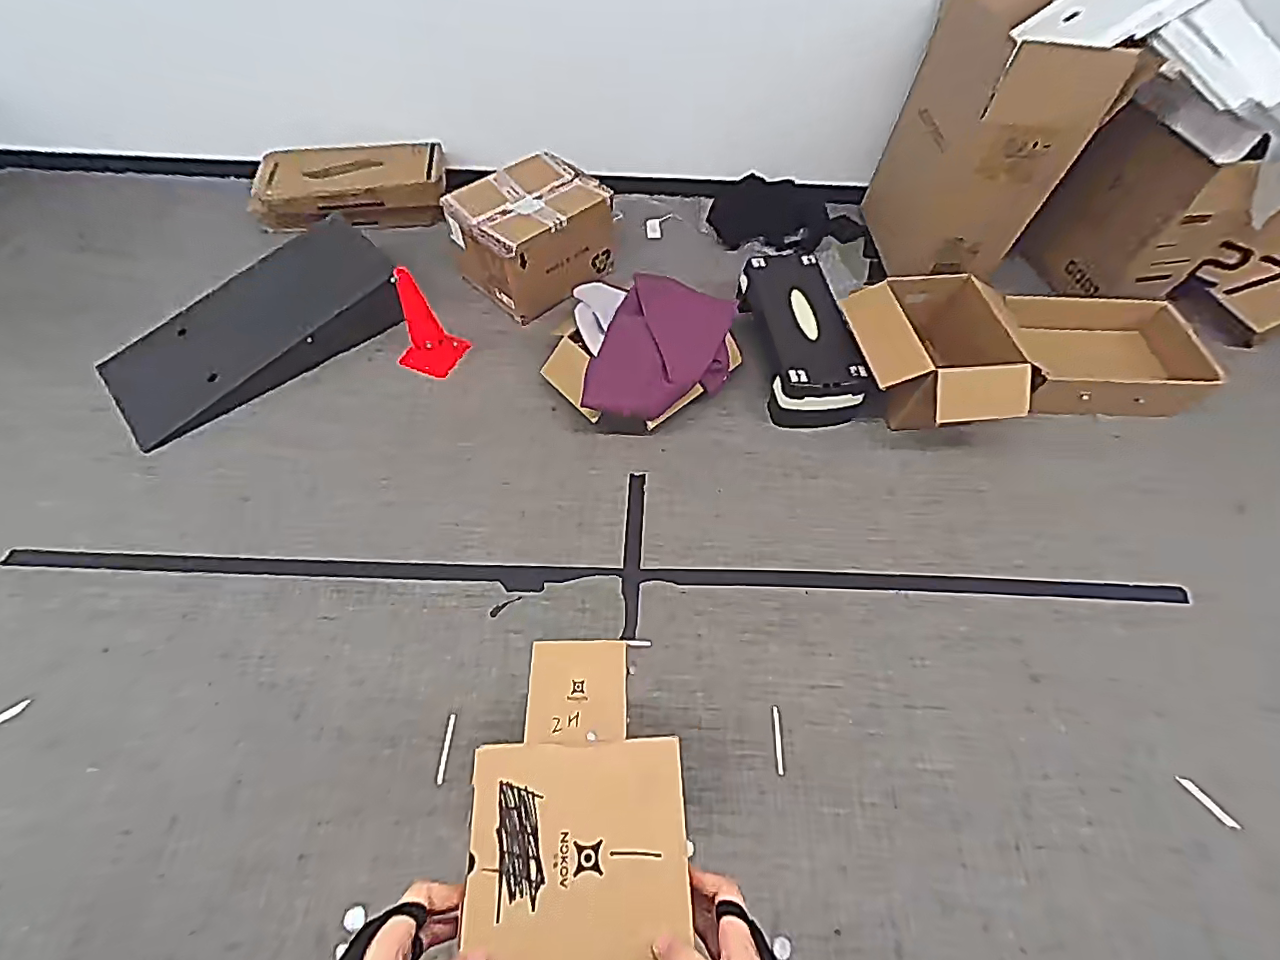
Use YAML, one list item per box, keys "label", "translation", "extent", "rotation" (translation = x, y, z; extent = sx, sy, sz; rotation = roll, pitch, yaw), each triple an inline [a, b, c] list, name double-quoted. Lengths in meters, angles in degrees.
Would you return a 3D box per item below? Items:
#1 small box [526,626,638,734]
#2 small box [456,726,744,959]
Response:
- label: "small box"
  translation: [-0.087, 0.353, 0.893]
  extent: [0.168, 0.176, 0.179]
  rotation: [-1, 59, -1]
- label: "small box"
  translation: [-0.029, 0.292, 0.415]
  extent: [0.179, 0.176, 0.168]
  rotation: [-1, 59, -4]
